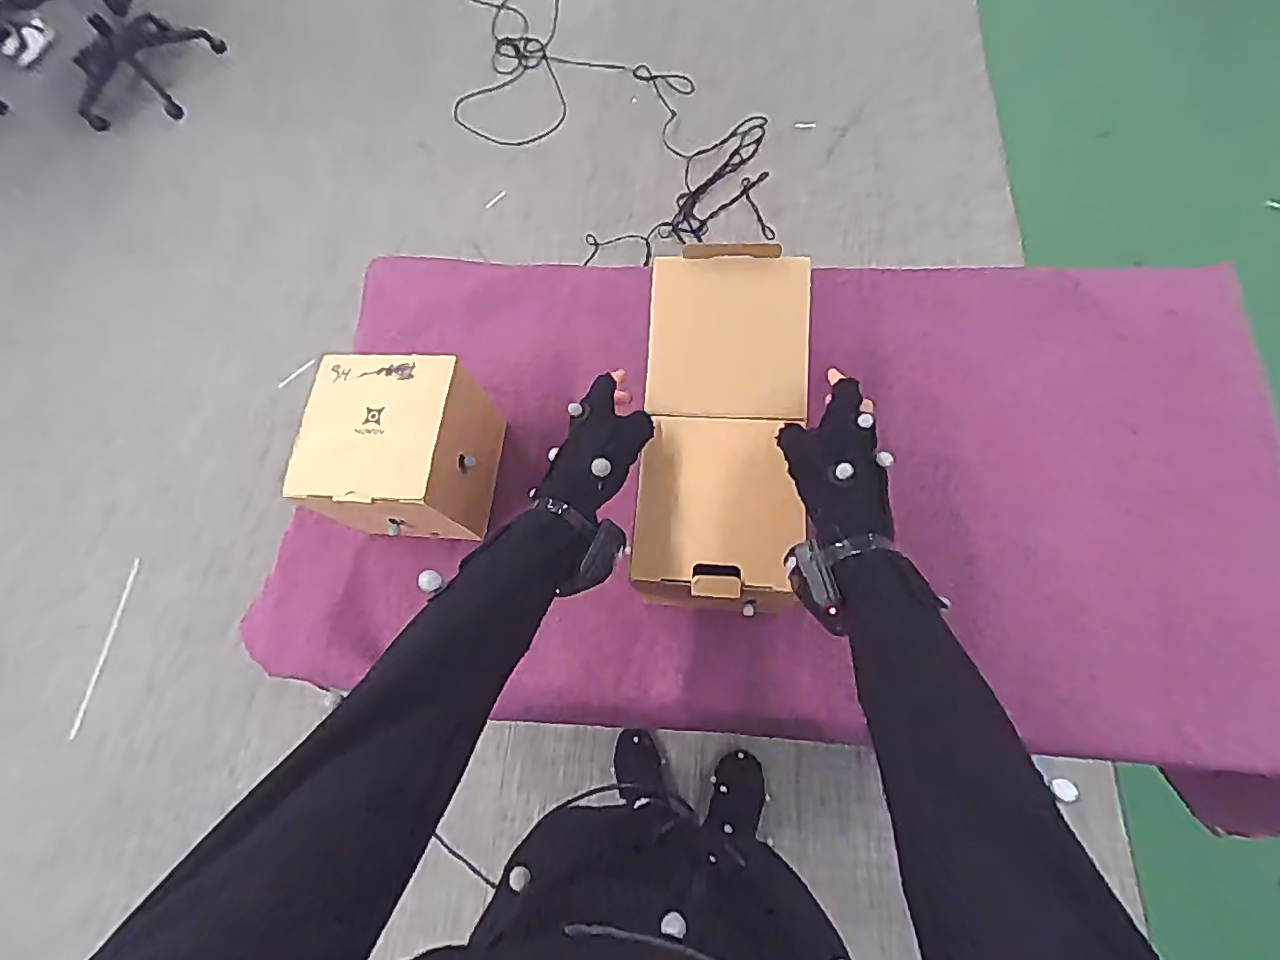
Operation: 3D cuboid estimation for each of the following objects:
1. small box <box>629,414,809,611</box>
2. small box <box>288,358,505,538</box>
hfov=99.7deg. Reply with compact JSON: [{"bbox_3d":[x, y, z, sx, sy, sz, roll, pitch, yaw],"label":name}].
[{"bbox_3d":[0.088,0.044,0.595,0.168,0.176,0.179,3,70,8],"label":"small box"},{"bbox_3d":[-0.280,-0.031,0.667,0.168,0.176,0.179,2,71,7],"label":"small box"}]
